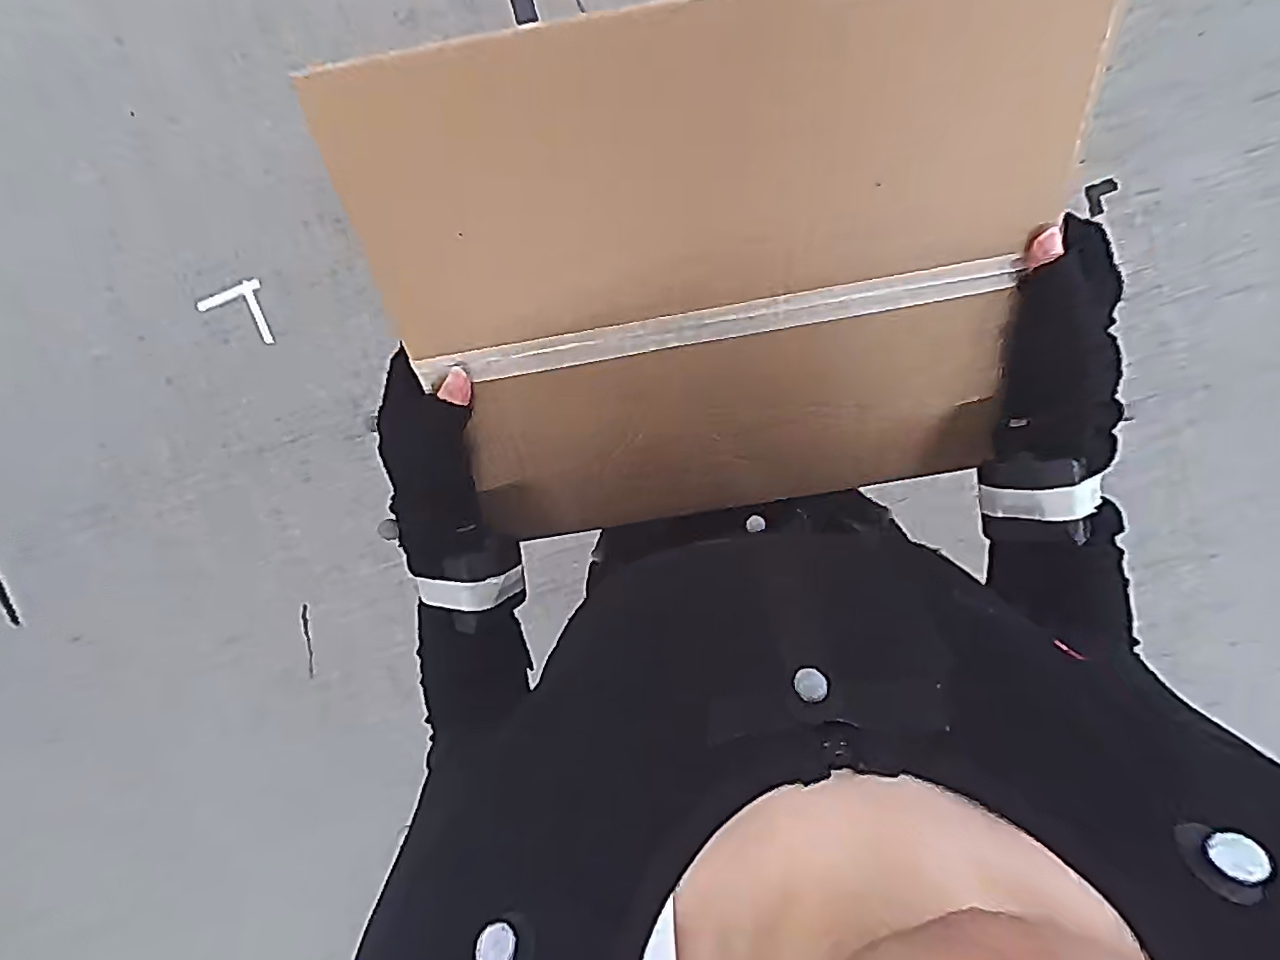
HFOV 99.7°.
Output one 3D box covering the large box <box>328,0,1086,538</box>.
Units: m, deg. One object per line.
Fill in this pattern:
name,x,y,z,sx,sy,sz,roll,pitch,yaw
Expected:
large box,0.044,-0.194,0.480,0.408,0.320,0.320,-10,126,2
